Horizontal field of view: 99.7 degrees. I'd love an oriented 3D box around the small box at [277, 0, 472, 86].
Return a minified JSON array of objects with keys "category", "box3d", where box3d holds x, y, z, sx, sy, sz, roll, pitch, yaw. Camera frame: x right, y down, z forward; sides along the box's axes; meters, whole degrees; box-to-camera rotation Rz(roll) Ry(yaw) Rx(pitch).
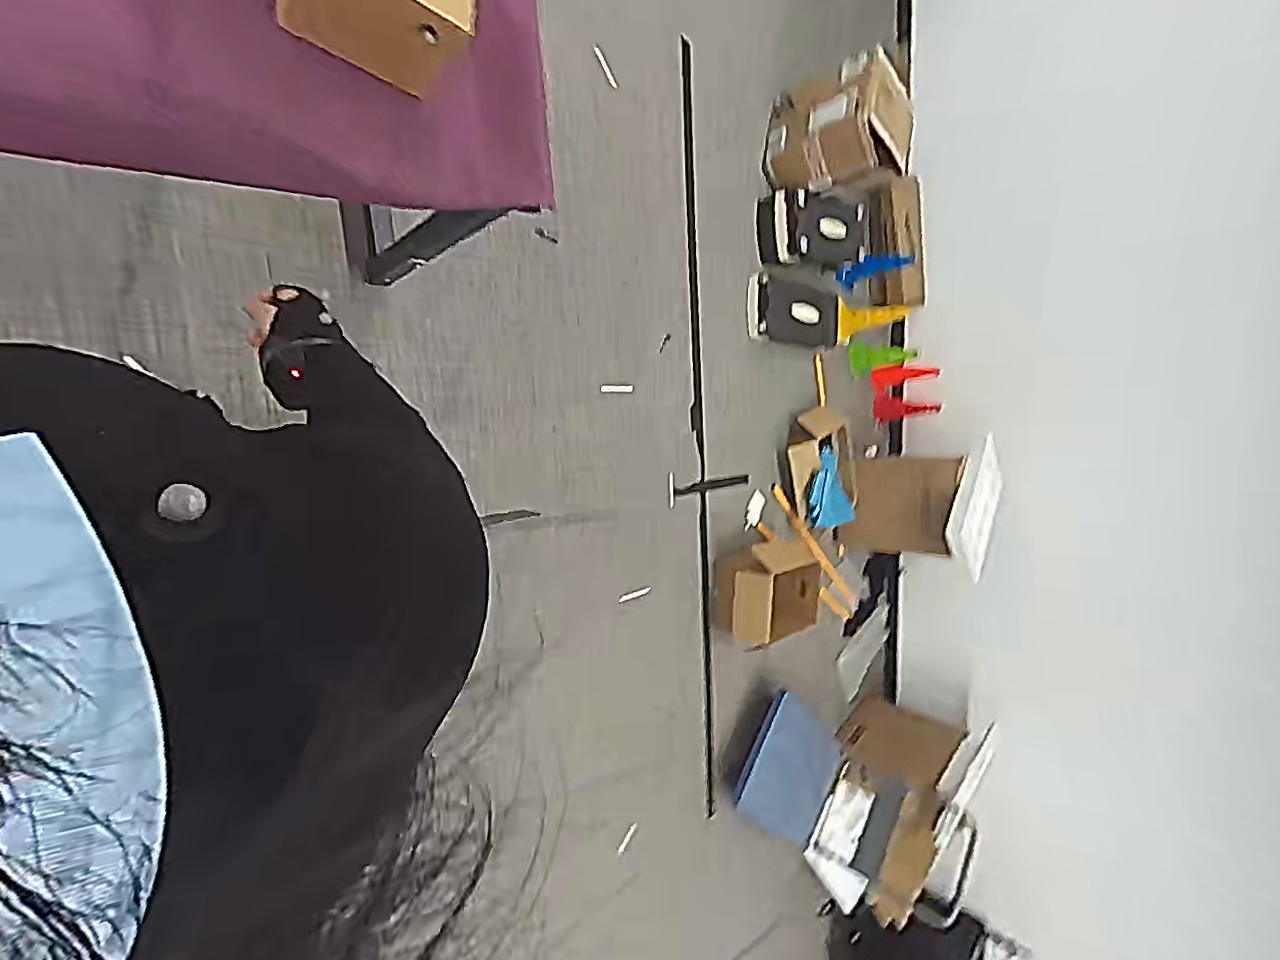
[{"category":"small box","box3d":[-0.312,-0.616,0.636,0.179,0.176,0.168,3,92,-42]}]
